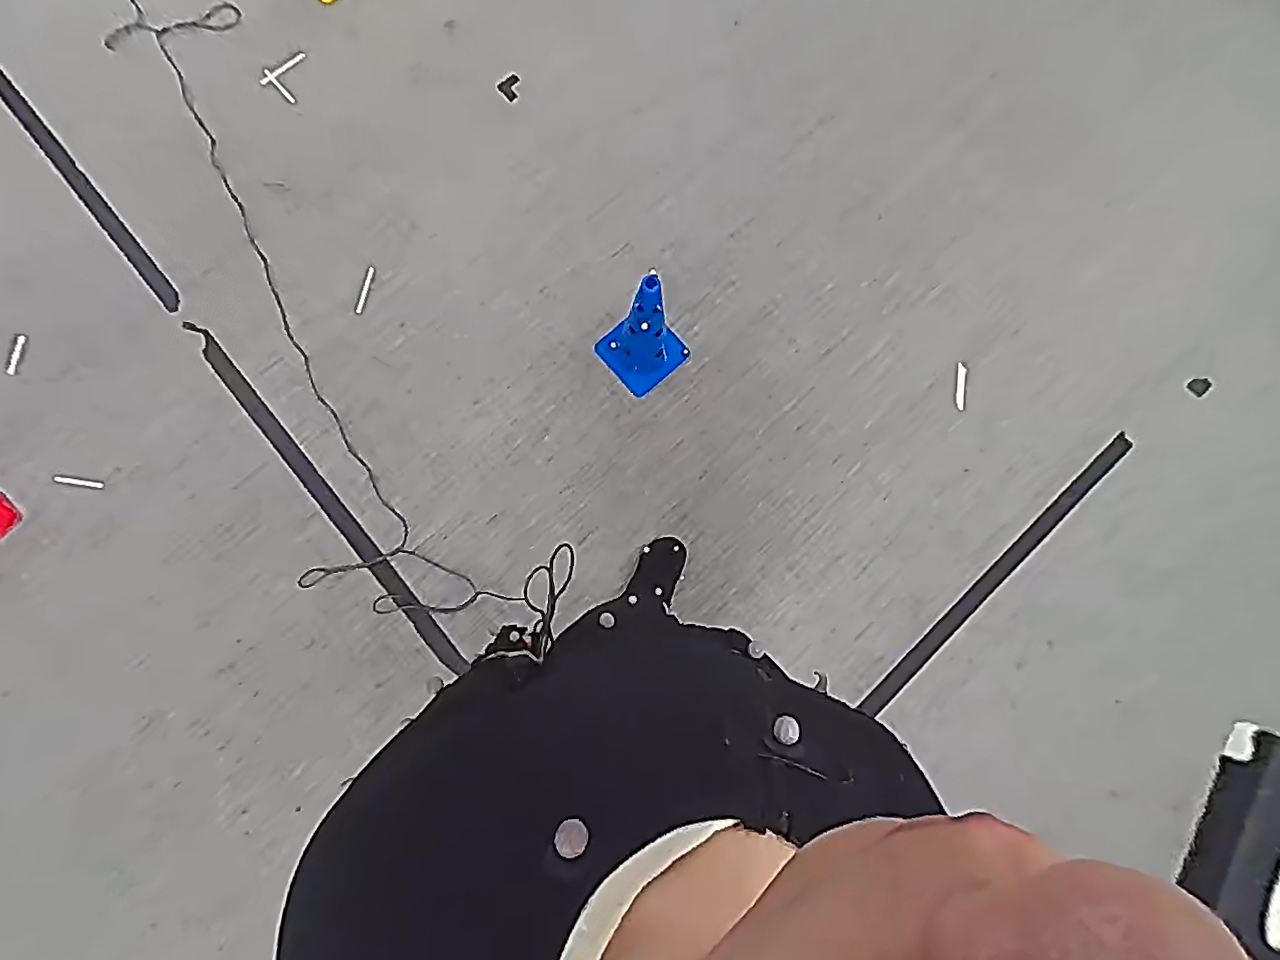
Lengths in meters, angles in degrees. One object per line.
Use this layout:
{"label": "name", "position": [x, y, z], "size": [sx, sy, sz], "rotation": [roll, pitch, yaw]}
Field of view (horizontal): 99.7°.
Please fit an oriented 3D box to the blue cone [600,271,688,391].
{"label": "blue cone", "position": [0.019, -0.380, 1.304], "size": [0.192, 0.380, 0.193], "rotation": [-40, 84, -9]}
